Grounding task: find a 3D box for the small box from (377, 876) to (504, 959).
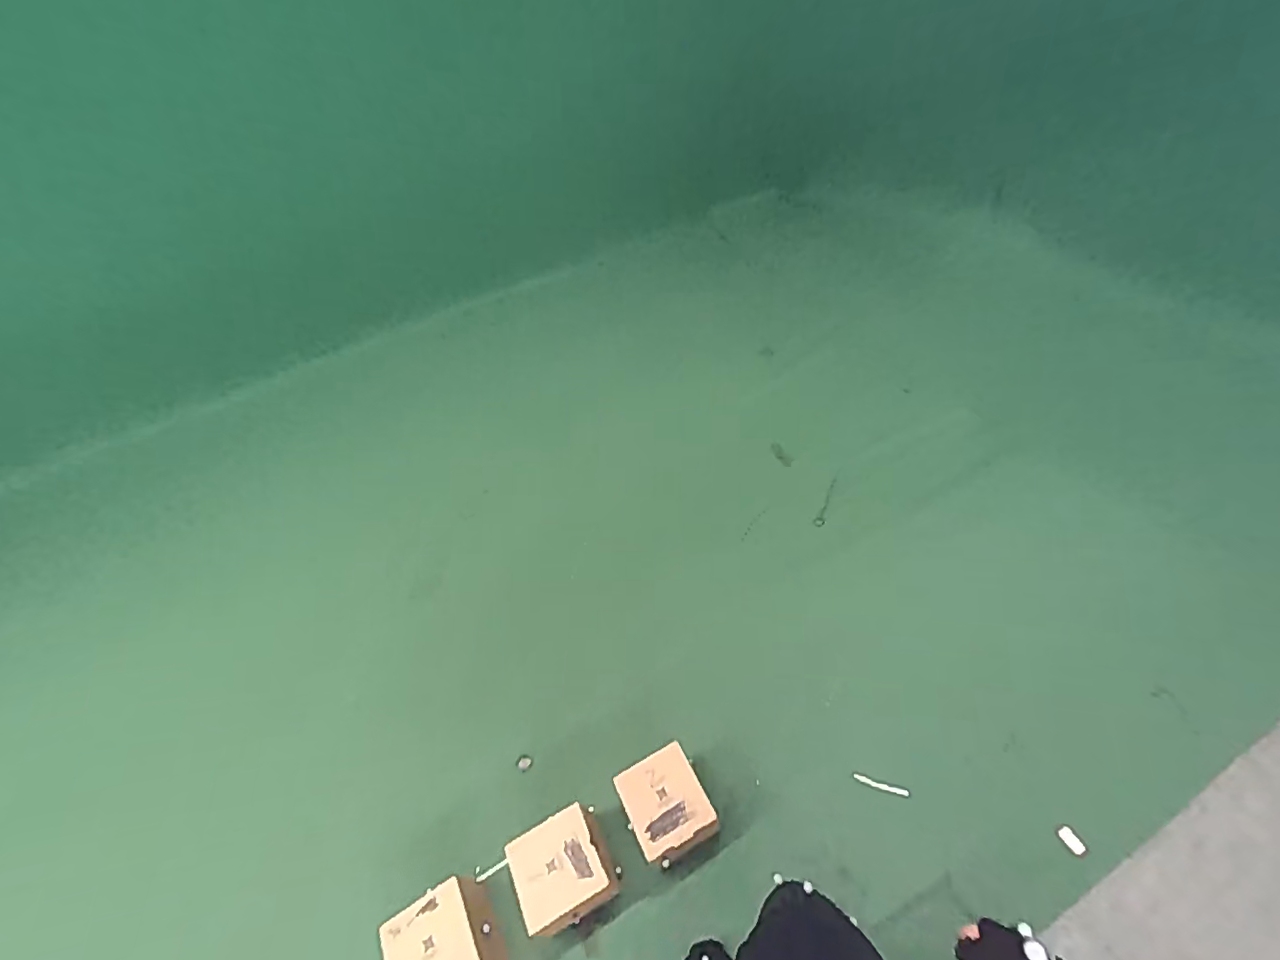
[{"bbox_3d":[-0.399,0.946,1.098,0.168,0.176,0.179,-28,52,-14],"label":"small box"}]
